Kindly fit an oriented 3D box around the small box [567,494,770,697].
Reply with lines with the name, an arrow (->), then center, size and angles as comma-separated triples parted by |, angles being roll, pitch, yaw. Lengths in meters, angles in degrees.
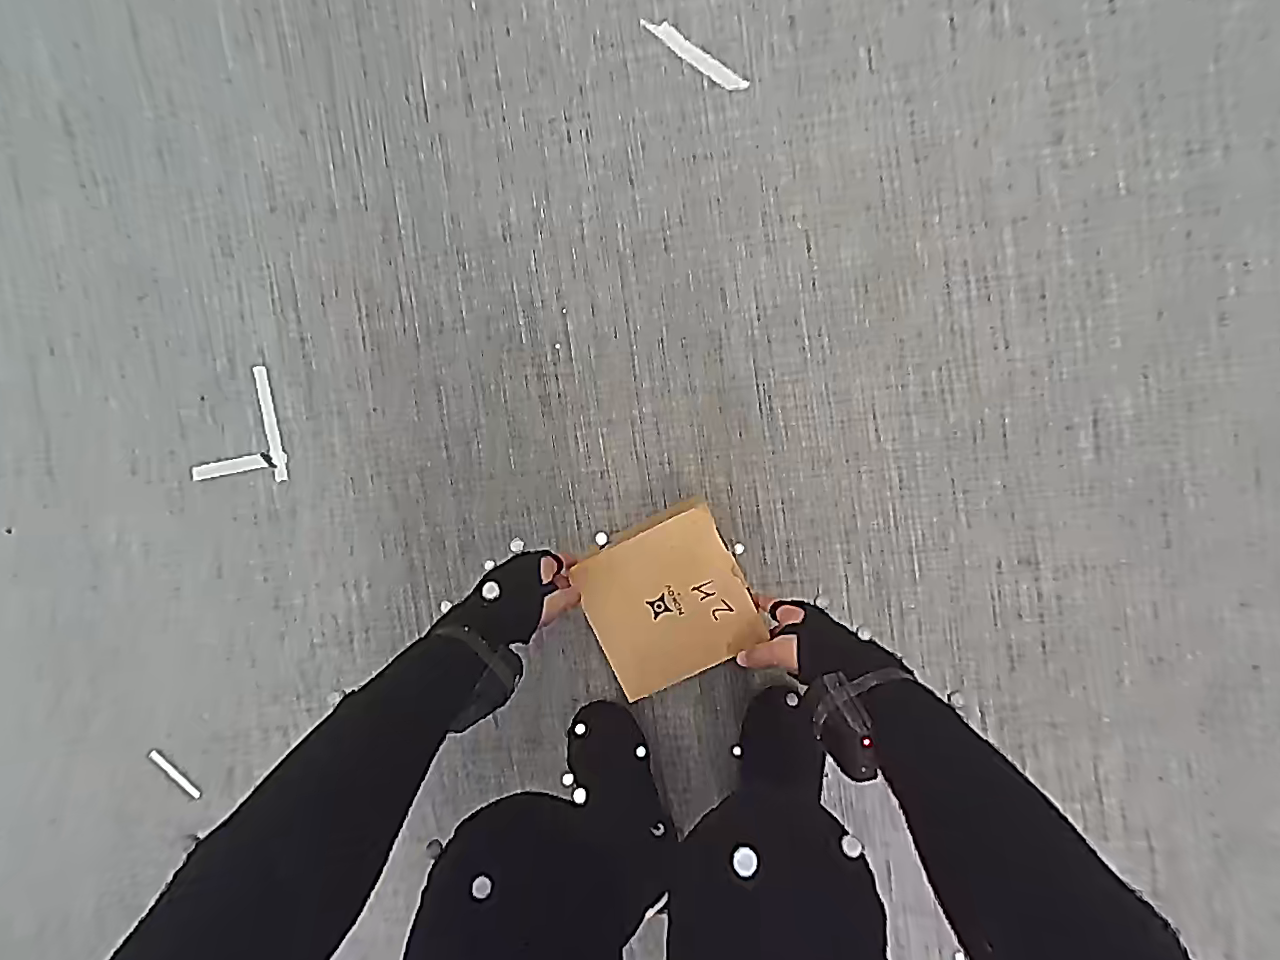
small box -> 0.037, 0.128, 0.667 | 0.179, 0.176, 0.168 | -27, 90, 5
